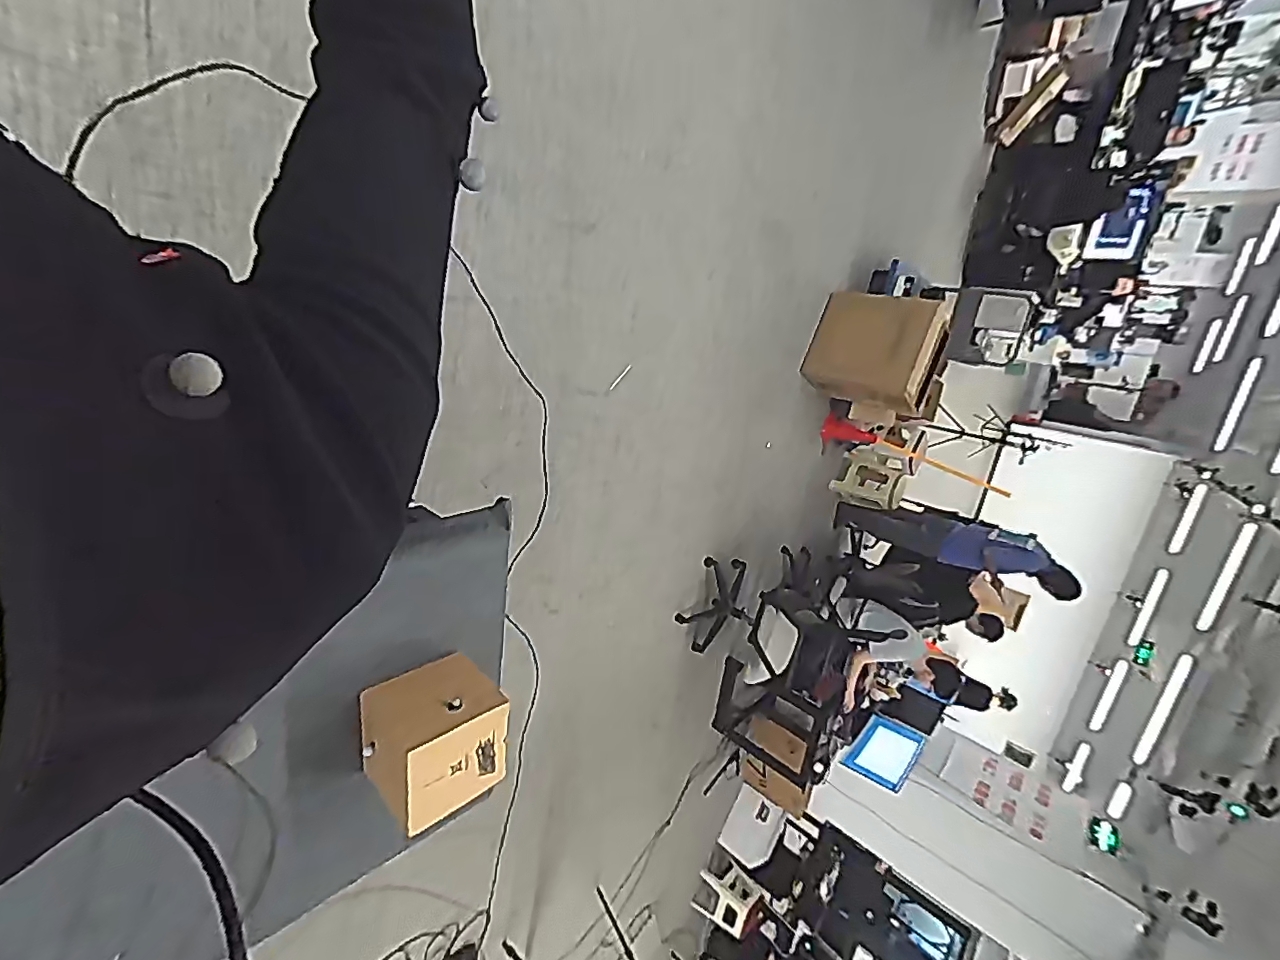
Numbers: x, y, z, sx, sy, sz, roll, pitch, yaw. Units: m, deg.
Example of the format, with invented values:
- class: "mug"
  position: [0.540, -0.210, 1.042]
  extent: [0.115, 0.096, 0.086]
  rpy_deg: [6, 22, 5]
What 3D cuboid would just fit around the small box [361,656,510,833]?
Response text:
- class: "small box"
  position: [-0.343, 0.426, 0.908]
  extent: [0.179, 0.176, 0.168]
  rpy_deg: [-12, 116, -46]
